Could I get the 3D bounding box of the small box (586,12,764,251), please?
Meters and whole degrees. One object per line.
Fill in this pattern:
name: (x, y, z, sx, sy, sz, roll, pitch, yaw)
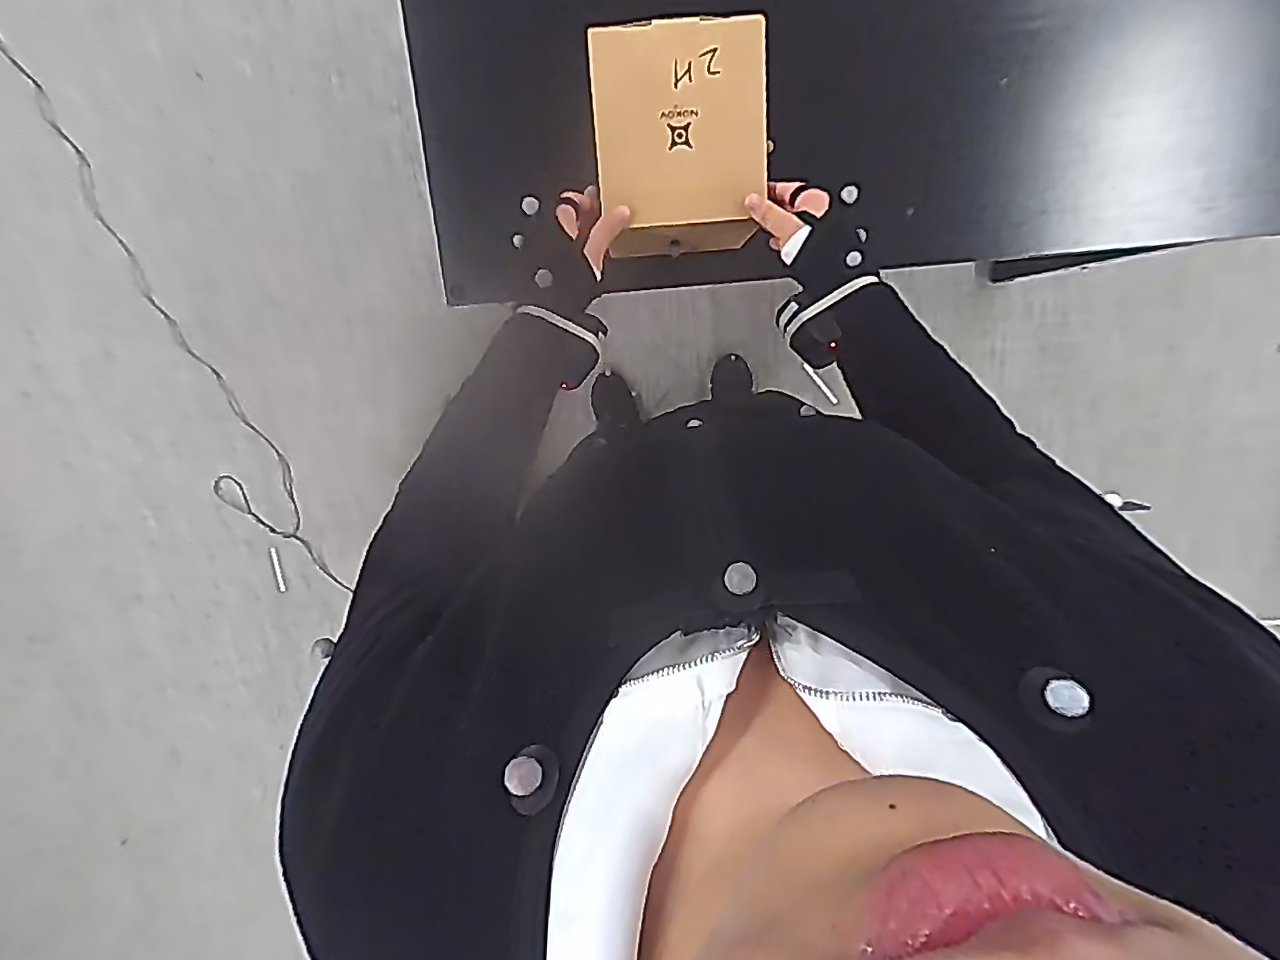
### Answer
small box: (0.038, -0.358, 0.594, 0.168, 0.176, 0.179, -4, 103, 2)
